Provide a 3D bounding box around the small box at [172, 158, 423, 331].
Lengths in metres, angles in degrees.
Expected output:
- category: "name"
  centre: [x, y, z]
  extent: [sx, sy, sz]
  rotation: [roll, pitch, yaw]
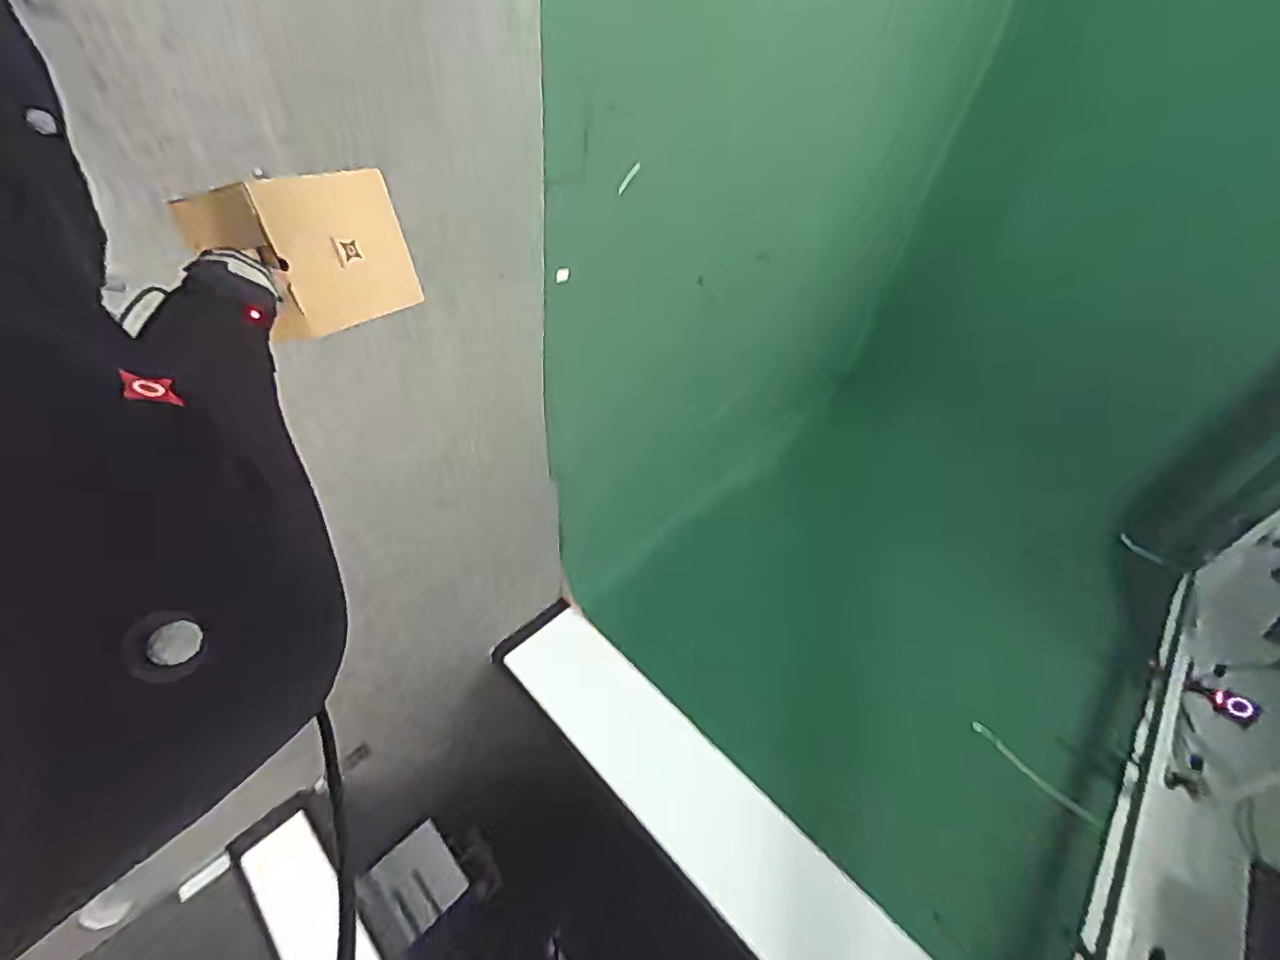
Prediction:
- category: "small box"
  centre: [-0.419, -0.296, 0.679]
  extent: [0.179, 0.176, 0.168]
  rotation: [-49, 138, -46]
